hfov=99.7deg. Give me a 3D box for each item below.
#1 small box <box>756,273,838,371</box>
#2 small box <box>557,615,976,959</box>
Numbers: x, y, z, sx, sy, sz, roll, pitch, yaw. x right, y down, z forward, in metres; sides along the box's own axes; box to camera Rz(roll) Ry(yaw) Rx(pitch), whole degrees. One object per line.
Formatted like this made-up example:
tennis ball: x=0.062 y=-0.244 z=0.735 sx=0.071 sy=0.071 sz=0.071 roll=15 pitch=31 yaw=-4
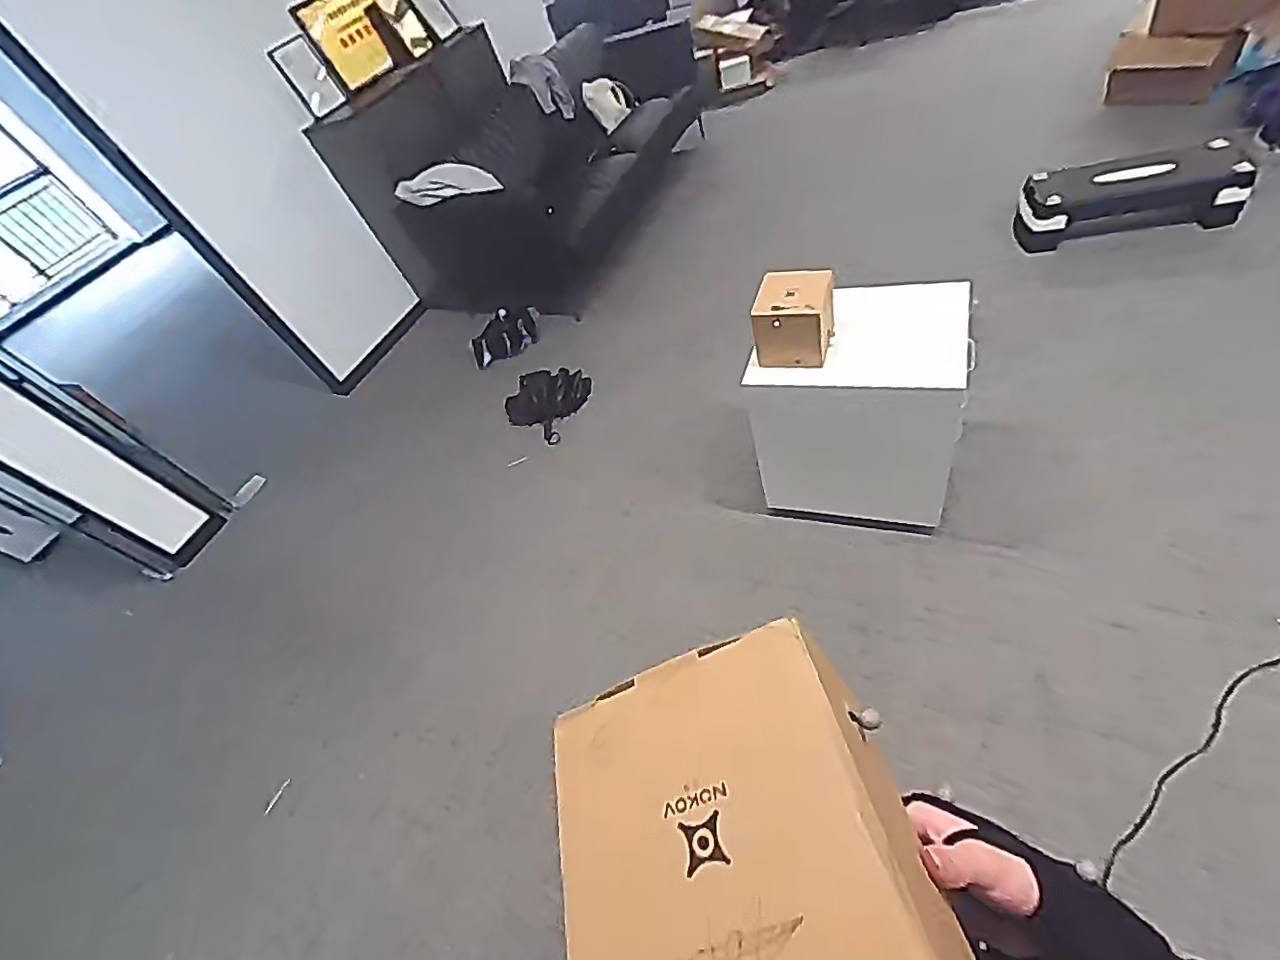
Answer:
small box: x=0.403 y=-0.400 z=1.370 sx=0.168 sy=0.176 sz=0.179 roll=7 pitch=54 yaw=27
small box: x=0.070 y=0.216 z=0.321 sx=0.168 sy=0.176 sz=0.179 roll=-29 pitch=43 yaw=14
